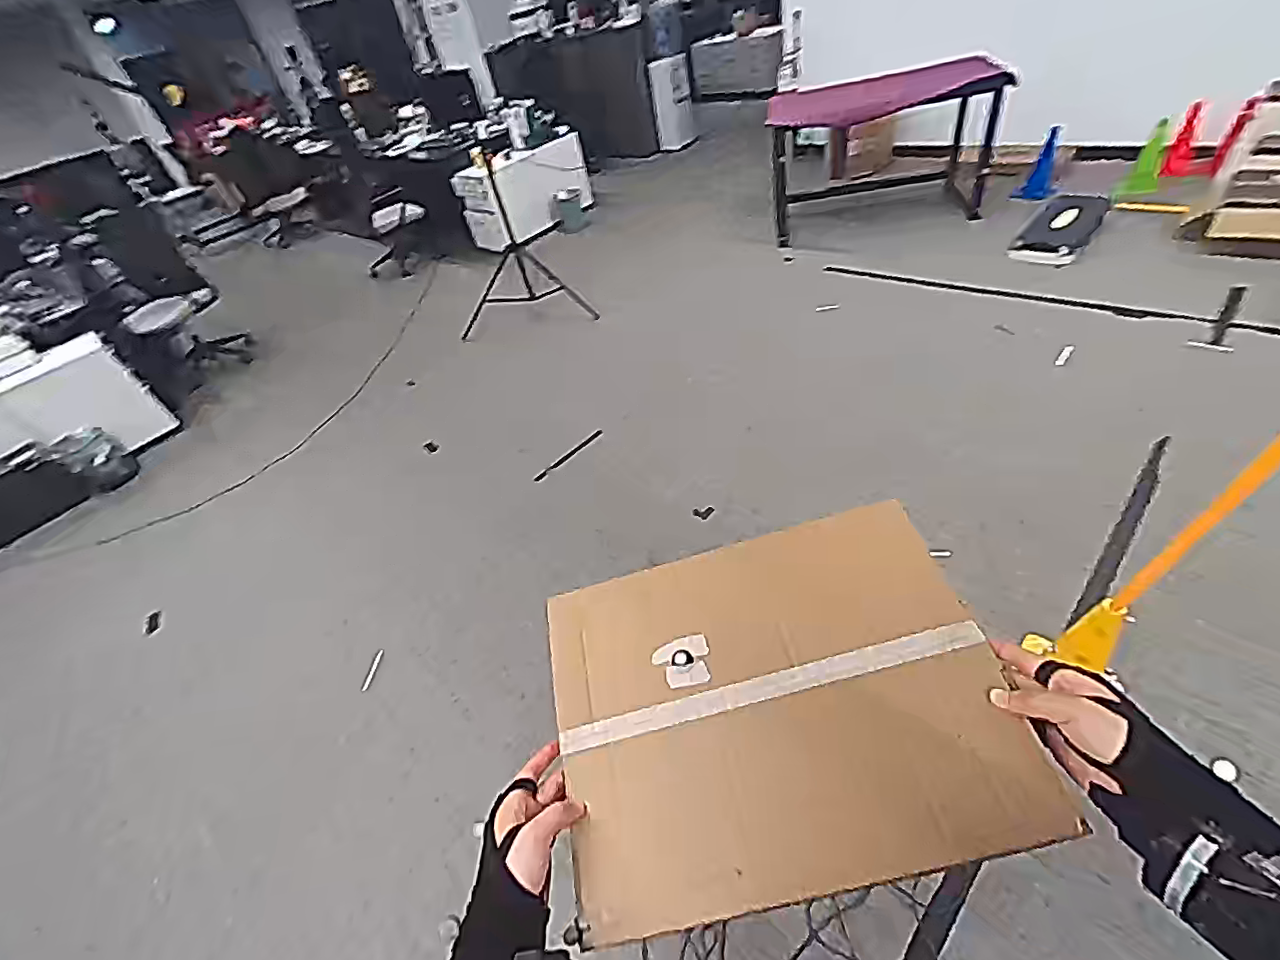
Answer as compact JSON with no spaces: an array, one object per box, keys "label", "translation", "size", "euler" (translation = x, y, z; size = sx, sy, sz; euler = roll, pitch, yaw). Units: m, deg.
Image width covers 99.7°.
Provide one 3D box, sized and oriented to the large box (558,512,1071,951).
[{"label":"large box","translation":[0.159,0.293,0.641],"size":[0.408,0.320,0.320],"euler":[-17,52,5]}]
